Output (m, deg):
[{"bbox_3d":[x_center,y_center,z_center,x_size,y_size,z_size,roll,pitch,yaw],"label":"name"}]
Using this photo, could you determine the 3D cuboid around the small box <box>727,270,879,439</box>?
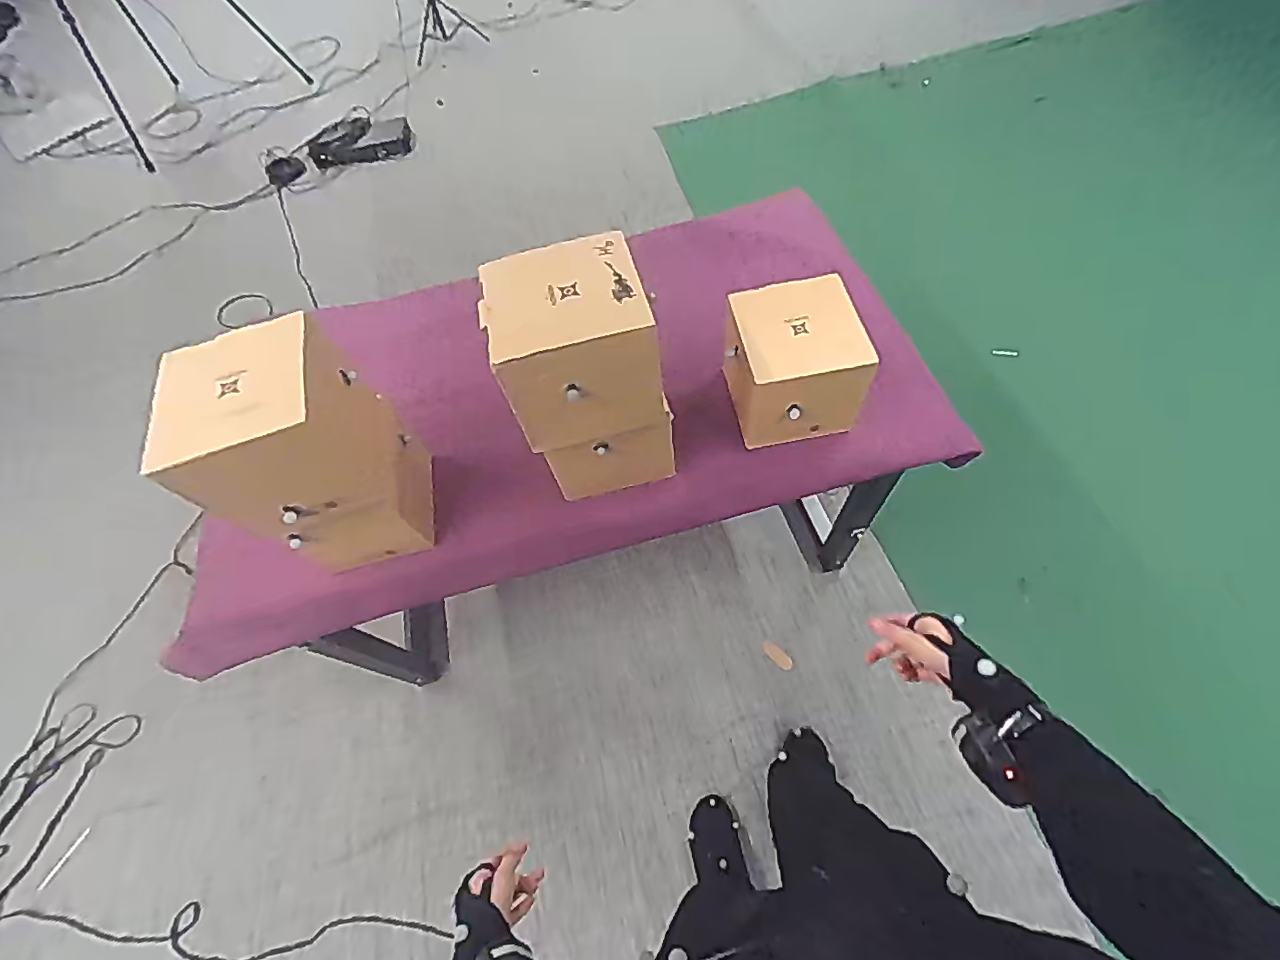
[{"bbox_3d":[0.230,-0.177,0.811,0.168,0.176,0.179,-11,61,2],"label":"small box"}]

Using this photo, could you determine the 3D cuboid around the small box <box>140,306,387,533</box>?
[{"bbox_3d":[-0.421,-0.065,0.635,0.168,0.176,0.179,-19,60,-4],"label":"small box"}]

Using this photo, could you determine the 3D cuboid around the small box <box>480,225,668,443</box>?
[{"bbox_3d":[-0.074,-0.166,0.652,0.179,0.176,0.168,-15,60,-1],"label":"small box"}]

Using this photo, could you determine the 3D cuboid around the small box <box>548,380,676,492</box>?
[{"bbox_3d":[-0.051,-0.101,0.801,0.179,0.176,0.168,-13,60,-1],"label":"small box"}]
